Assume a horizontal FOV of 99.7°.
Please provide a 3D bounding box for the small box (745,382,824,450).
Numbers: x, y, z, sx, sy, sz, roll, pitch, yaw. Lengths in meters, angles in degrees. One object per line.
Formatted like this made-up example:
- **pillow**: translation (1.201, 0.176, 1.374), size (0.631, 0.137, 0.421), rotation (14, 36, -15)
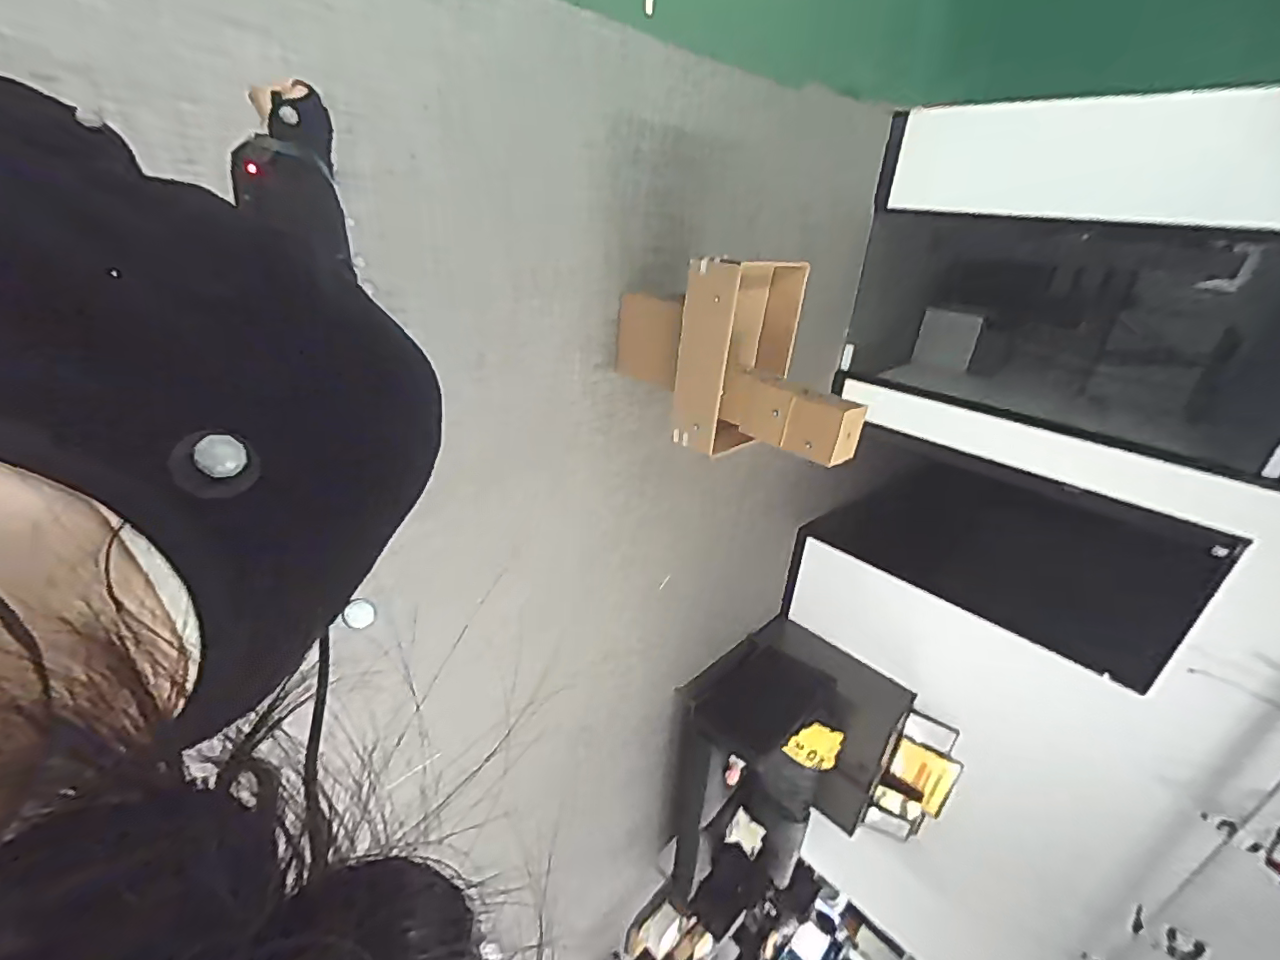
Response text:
- **small box**: translation (0.461, -0.215, 1.746), size (0.168, 0.176, 0.179), rotation (-15, 123, -42)

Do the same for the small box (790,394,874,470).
- **small box**: translation (0.579, -0.153, 1.653), size (0.168, 0.176, 0.179), rotation (-16, 123, -43)

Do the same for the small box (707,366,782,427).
- **small box**: translation (0.351, -0.288, 1.843), size (0.179, 0.176, 0.168), rotation (-14, 121, -43)
